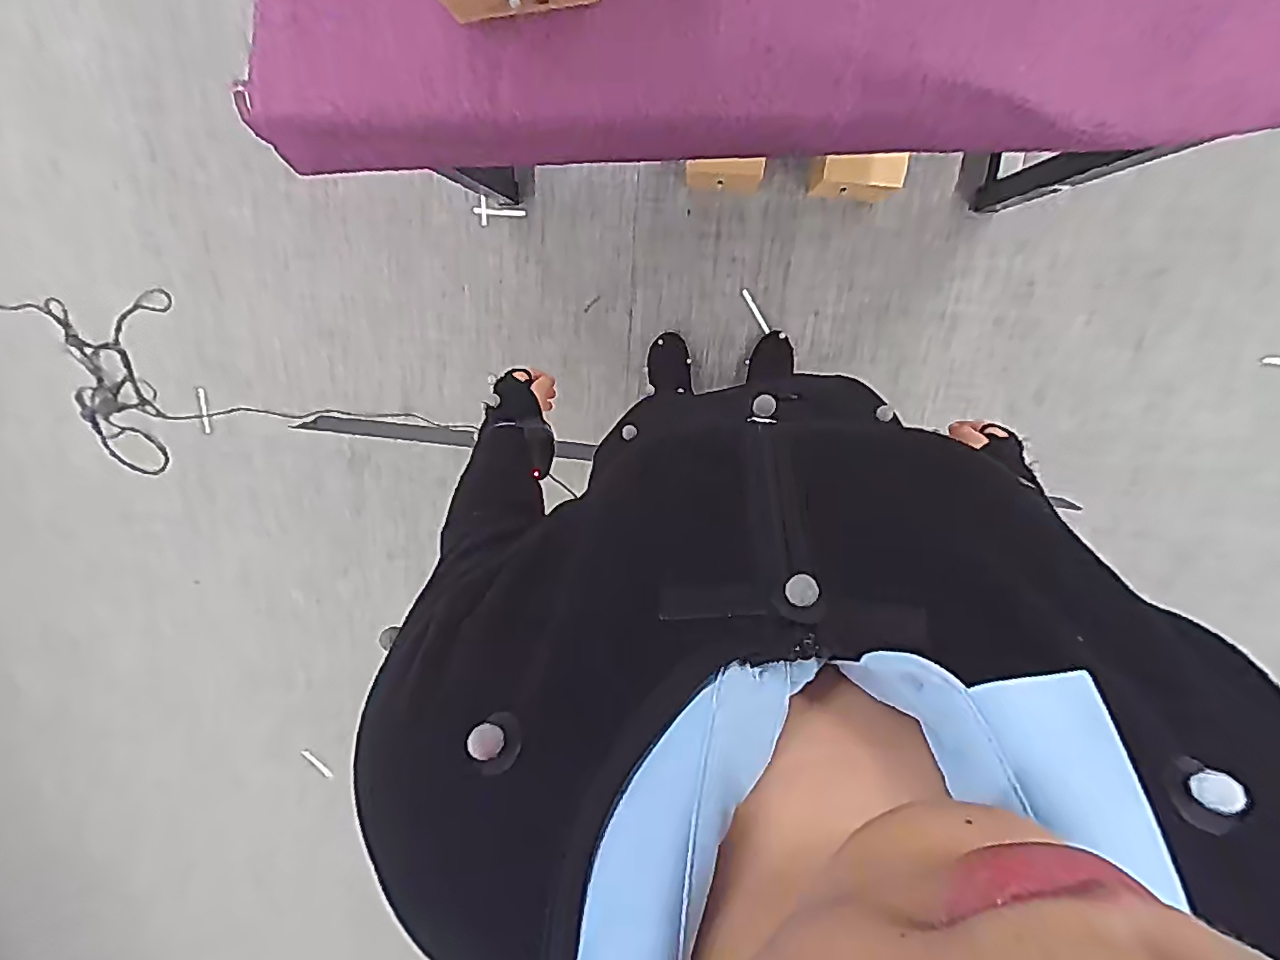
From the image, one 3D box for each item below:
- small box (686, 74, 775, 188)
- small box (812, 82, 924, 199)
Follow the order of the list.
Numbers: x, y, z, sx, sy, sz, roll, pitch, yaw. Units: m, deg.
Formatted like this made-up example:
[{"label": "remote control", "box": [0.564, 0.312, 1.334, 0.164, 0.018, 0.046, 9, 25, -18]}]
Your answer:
[{"label": "small box", "box": [0.194, -0.758, 1.192, 0.168, 0.176, 0.179, 6, 108, 4]}, {"label": "small box", "box": [0.481, -0.724, 1.173, 0.168, 0.176, 0.179, 8, 108, 4]}]
